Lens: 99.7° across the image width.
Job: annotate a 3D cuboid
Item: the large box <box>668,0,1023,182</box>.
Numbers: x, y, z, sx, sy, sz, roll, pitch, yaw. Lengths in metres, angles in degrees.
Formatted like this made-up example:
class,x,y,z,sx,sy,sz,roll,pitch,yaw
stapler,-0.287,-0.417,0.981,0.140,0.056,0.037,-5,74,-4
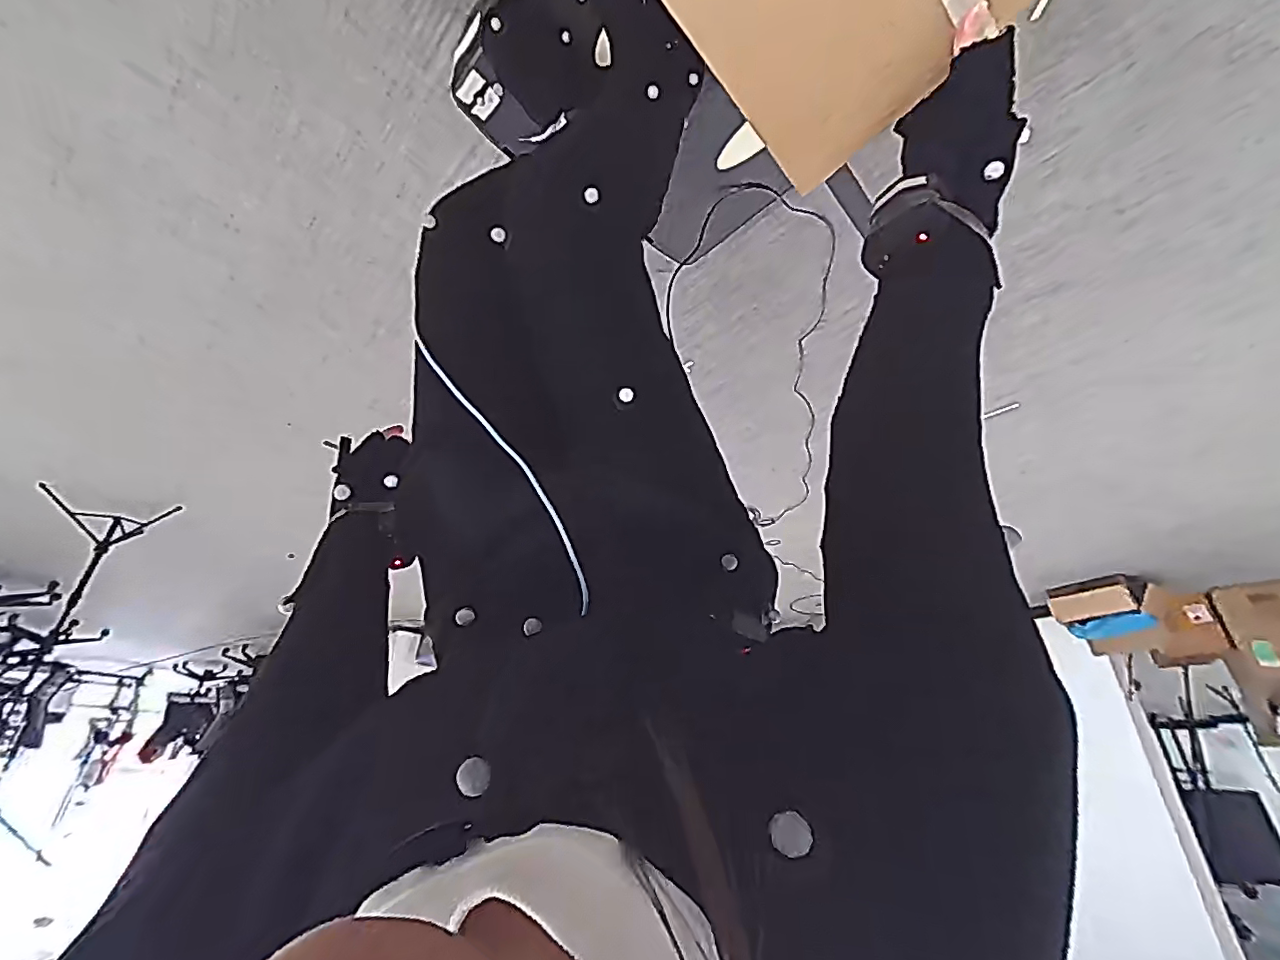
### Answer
class,x,y,z,sx,sy,sz,roll,pitch,yaw
large box,0.148,-0.559,0.450,0.408,0.320,0.320,41,130,-22

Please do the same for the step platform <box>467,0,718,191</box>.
class,x,y,z,sx,sy,sz,roll,pitch,yaw
step platform,0.048,-0.736,0.726,0.286,0.204,0.684,25,142,-37
